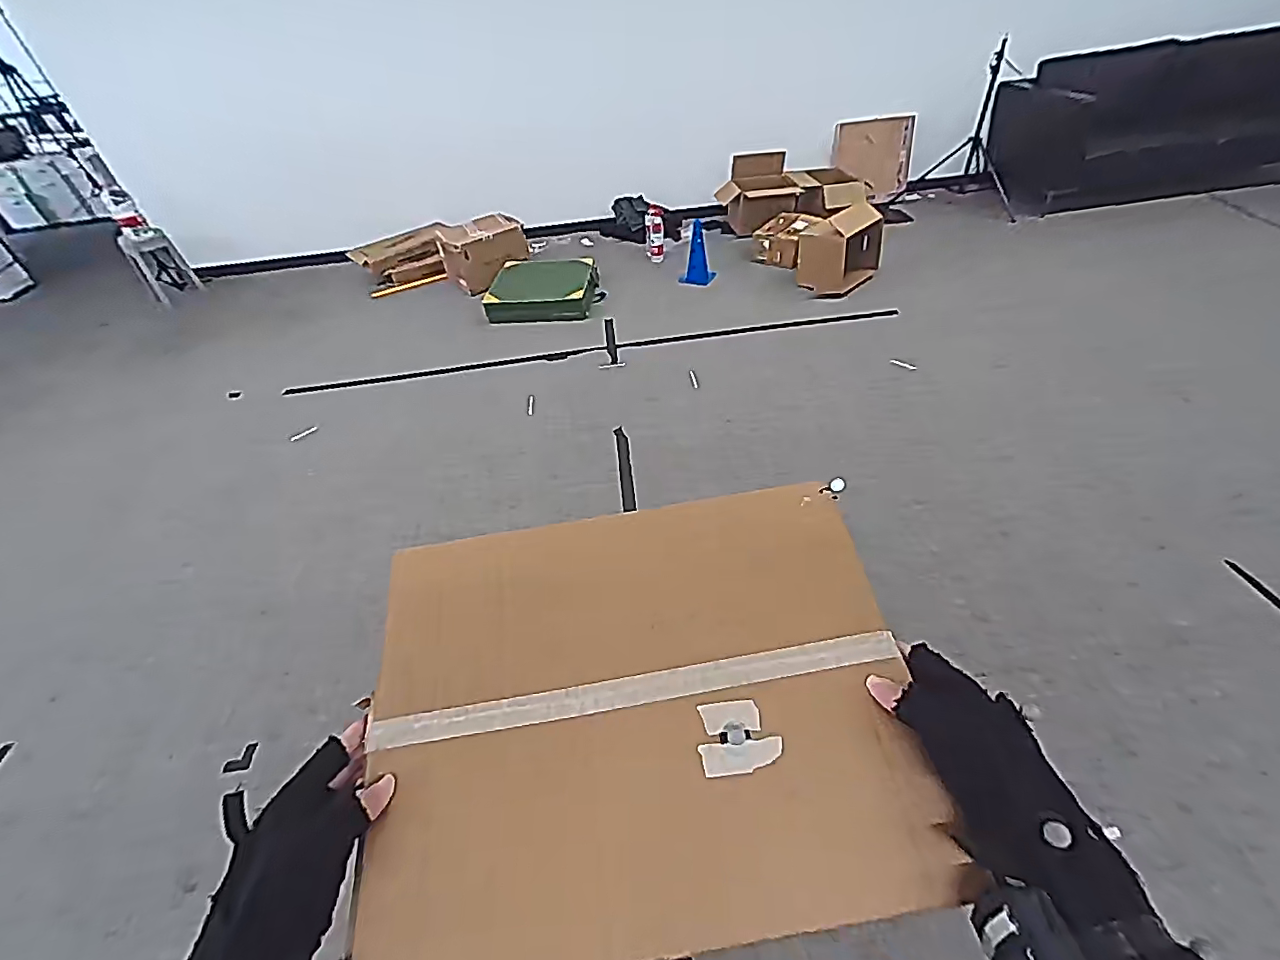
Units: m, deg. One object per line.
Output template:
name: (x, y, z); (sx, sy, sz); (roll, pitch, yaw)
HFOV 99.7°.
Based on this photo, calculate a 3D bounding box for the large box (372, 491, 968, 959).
large box: (0.009, 0.251, 0.553); (0.408, 0.320, 0.320); (-9, 57, -1)
